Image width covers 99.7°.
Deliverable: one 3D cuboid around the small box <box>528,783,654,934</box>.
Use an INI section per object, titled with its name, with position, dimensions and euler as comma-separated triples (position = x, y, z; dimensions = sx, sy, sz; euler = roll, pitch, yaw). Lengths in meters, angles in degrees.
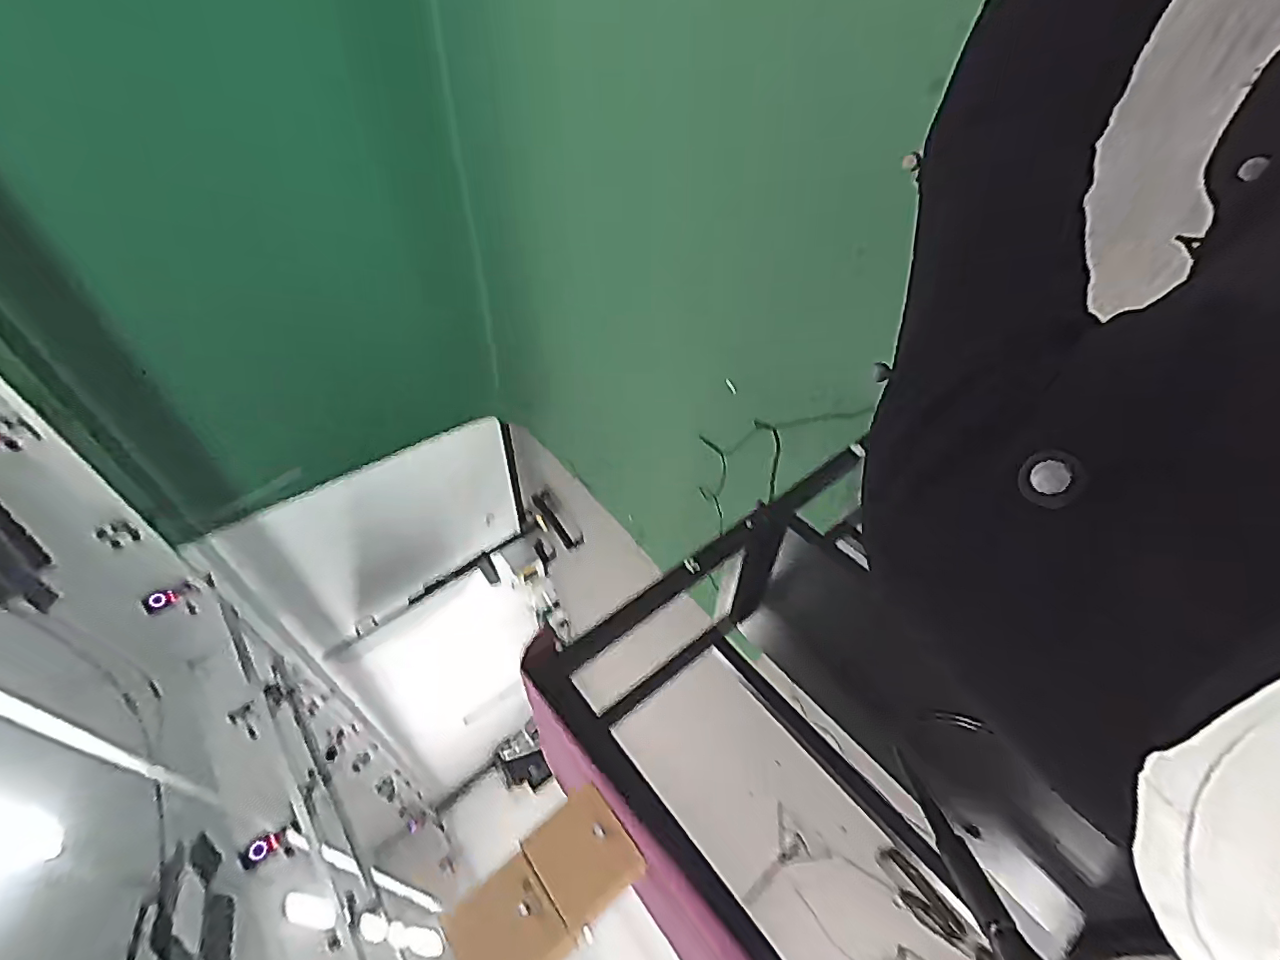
[small box]
position = -0.093, 0.723, 1.049
dimensions = 0.179, 0.176, 0.168
euler = 42, 150, 32
